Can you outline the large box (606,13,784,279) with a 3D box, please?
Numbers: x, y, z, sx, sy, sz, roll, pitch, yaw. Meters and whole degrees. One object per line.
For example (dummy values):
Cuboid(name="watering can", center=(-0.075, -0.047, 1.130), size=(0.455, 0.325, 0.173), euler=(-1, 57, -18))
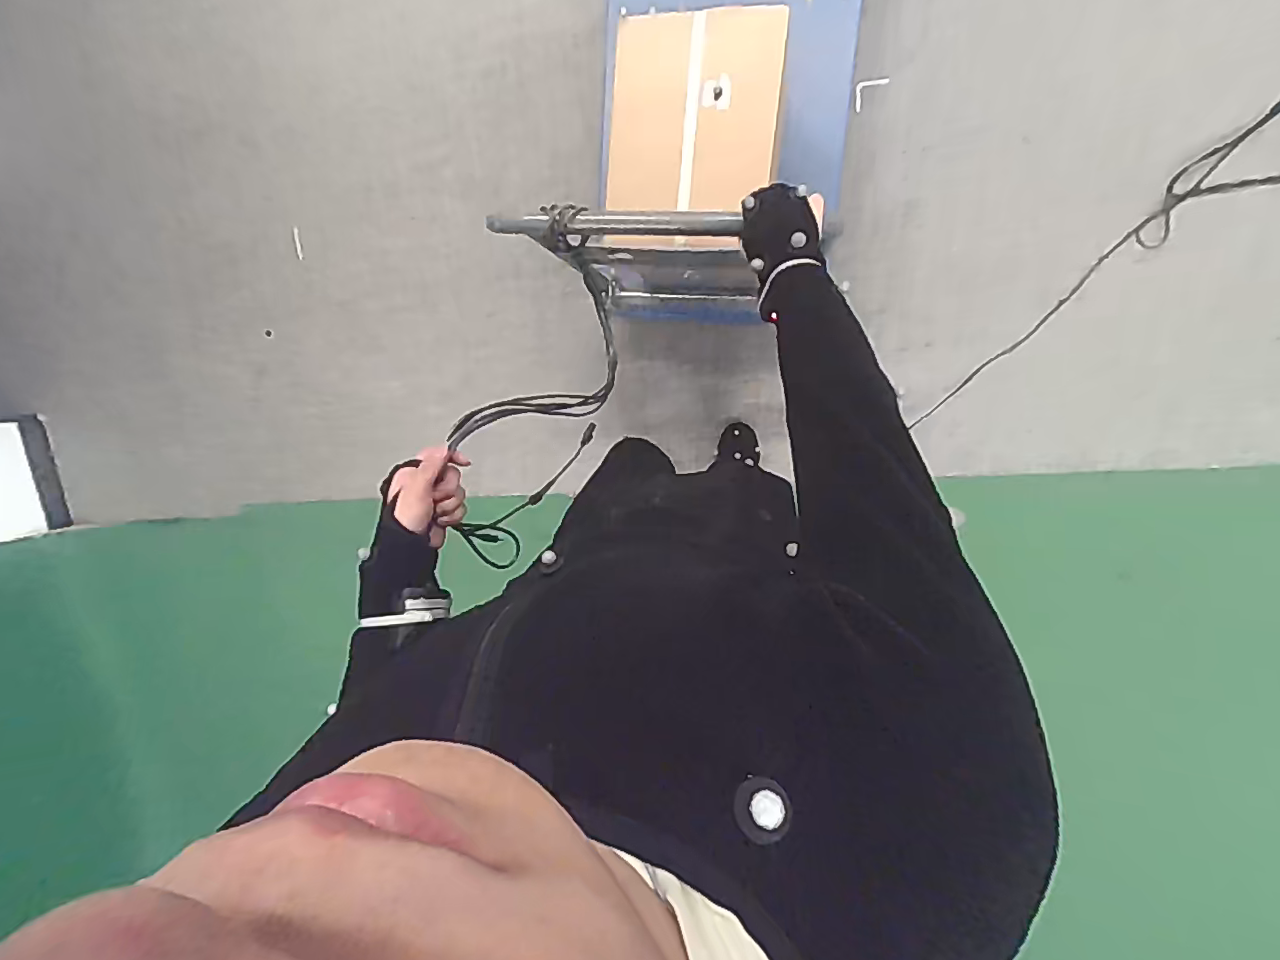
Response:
Cuboid(name="large box", center=(0.129, -0.672, 1.165), size=(0.320, 0.320, 0.408), euler=(8, 101, 12))
